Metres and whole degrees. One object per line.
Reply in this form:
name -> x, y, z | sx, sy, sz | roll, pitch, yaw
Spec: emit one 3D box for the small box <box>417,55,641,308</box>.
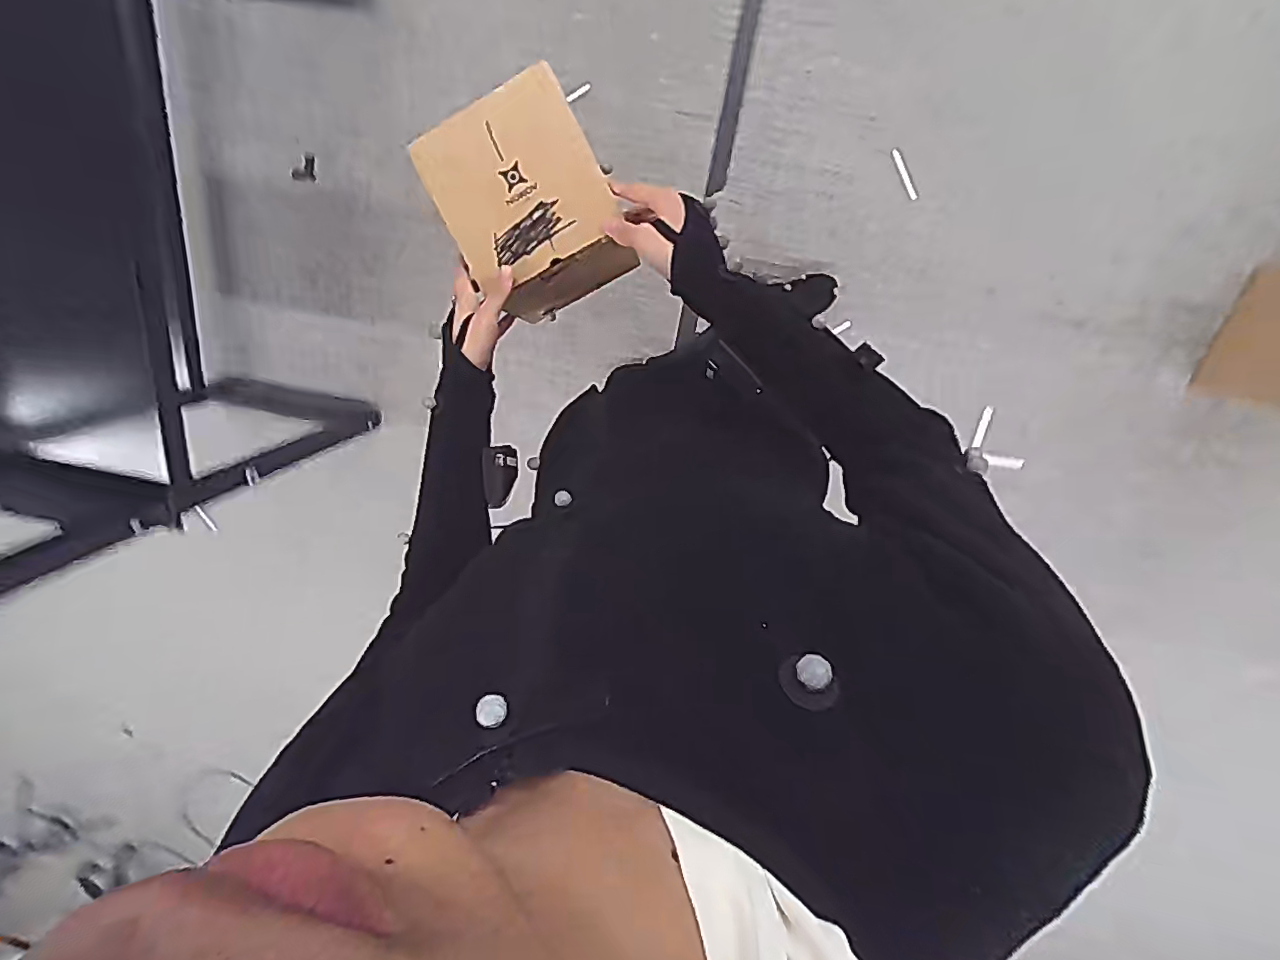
small box -> -0.108, -0.312, 0.616 | 0.168, 0.176, 0.179 | -25, 96, 8
